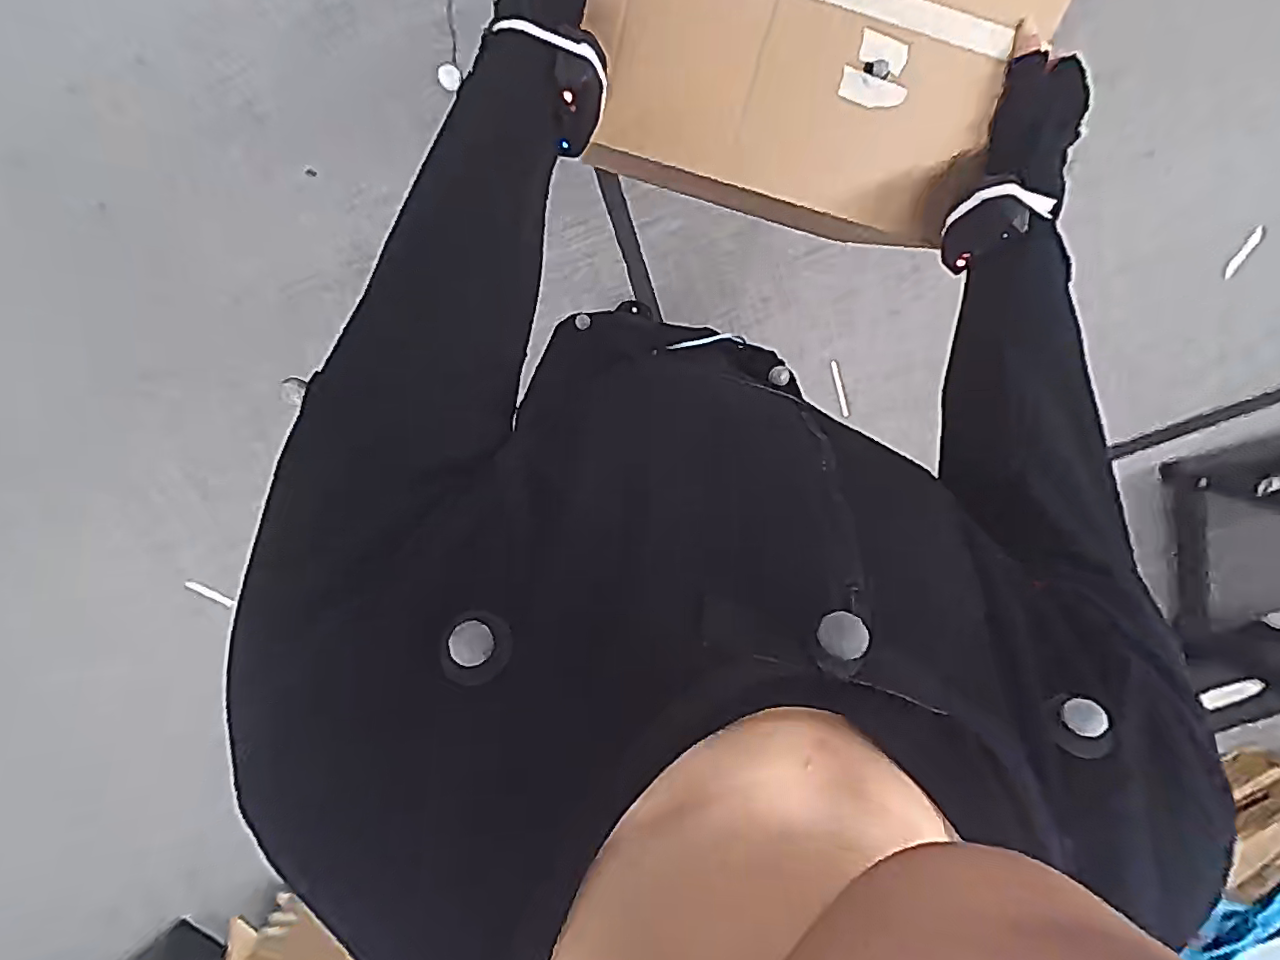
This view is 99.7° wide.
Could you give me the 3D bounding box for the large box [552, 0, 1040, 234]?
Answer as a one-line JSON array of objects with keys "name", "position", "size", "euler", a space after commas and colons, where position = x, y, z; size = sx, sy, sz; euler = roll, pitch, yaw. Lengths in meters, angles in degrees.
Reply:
[{"name": "large box", "position": [0.137, -0.482, 0.594], "size": [0.408, 0.320, 0.320], "euler": [12, 116, -7]}]
